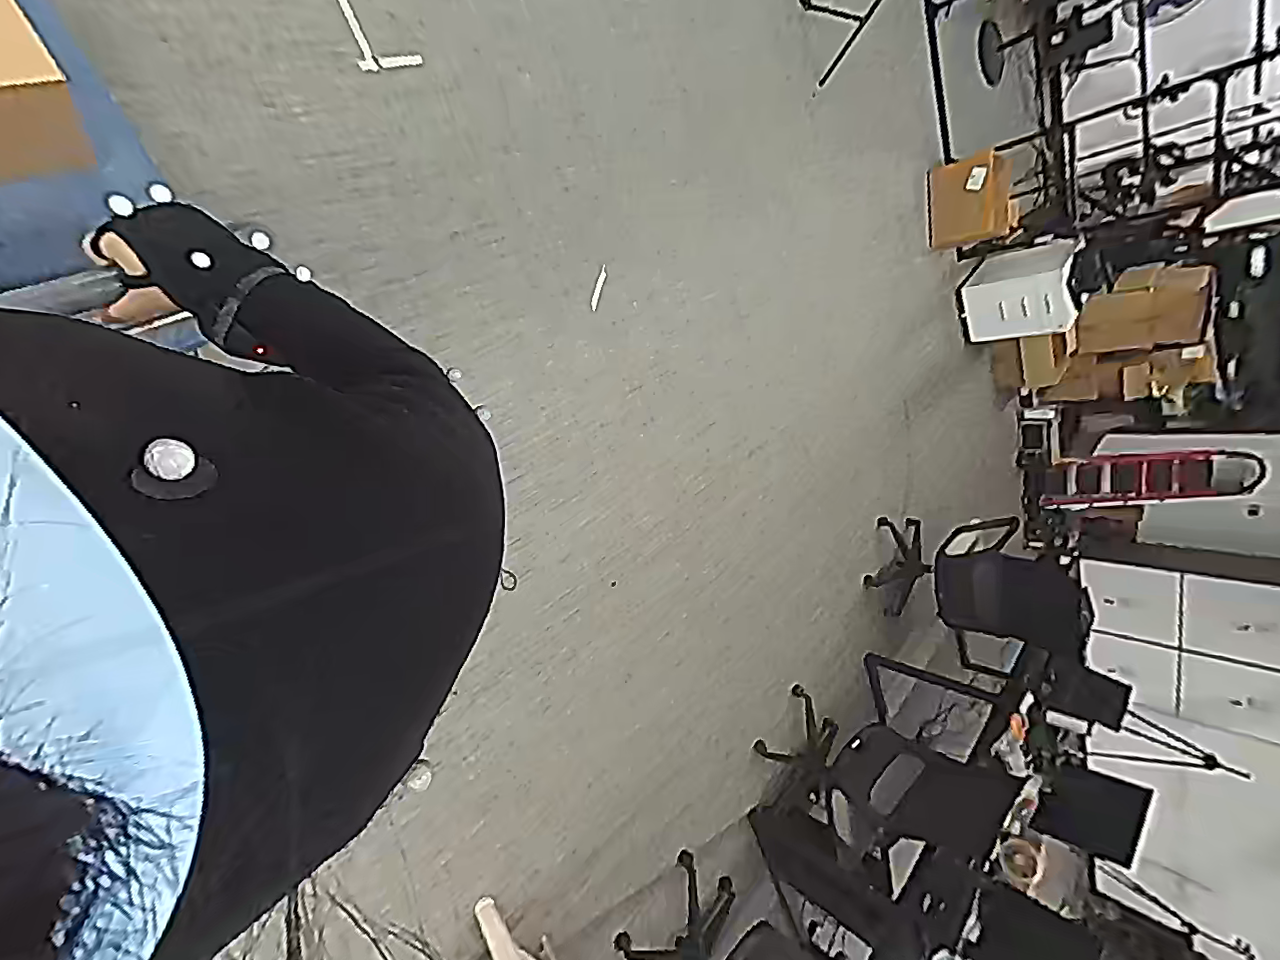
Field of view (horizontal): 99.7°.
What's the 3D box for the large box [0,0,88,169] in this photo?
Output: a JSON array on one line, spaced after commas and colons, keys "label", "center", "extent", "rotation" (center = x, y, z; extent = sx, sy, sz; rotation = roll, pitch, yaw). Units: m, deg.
[{"label": "large box", "center": [-1.045, -0.578, 0.663], "extent": [0.408, 0.320, 0.320], "rotation": [-36, 115, -31]}]
